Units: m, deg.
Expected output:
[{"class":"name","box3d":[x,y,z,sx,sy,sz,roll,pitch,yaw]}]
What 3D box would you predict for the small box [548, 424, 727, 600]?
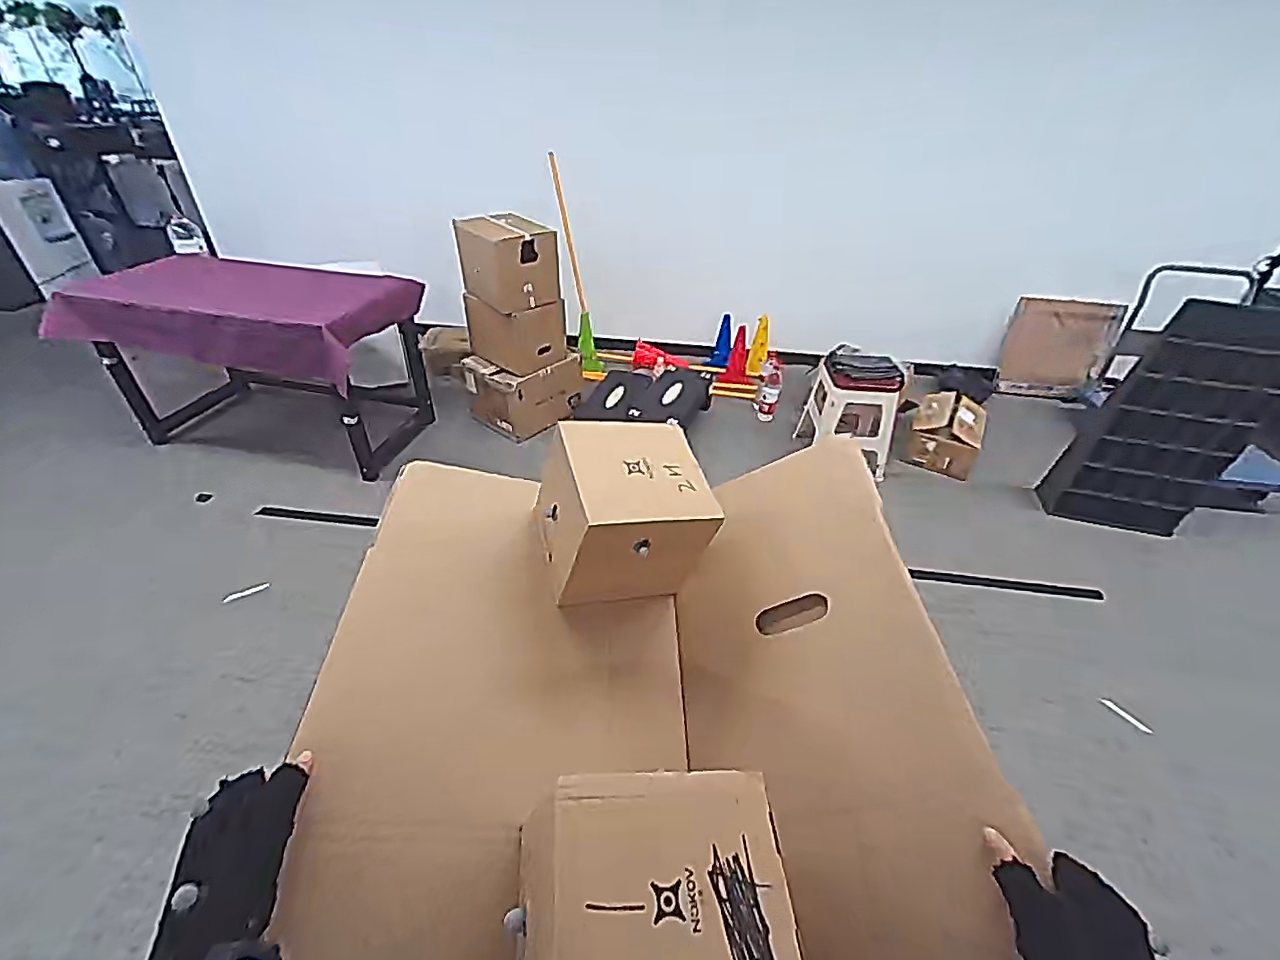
[{"class":"small box","box3d":[-0.018,0.045,0.716,0.179,0.176,0.168,1,48,-24]}]
